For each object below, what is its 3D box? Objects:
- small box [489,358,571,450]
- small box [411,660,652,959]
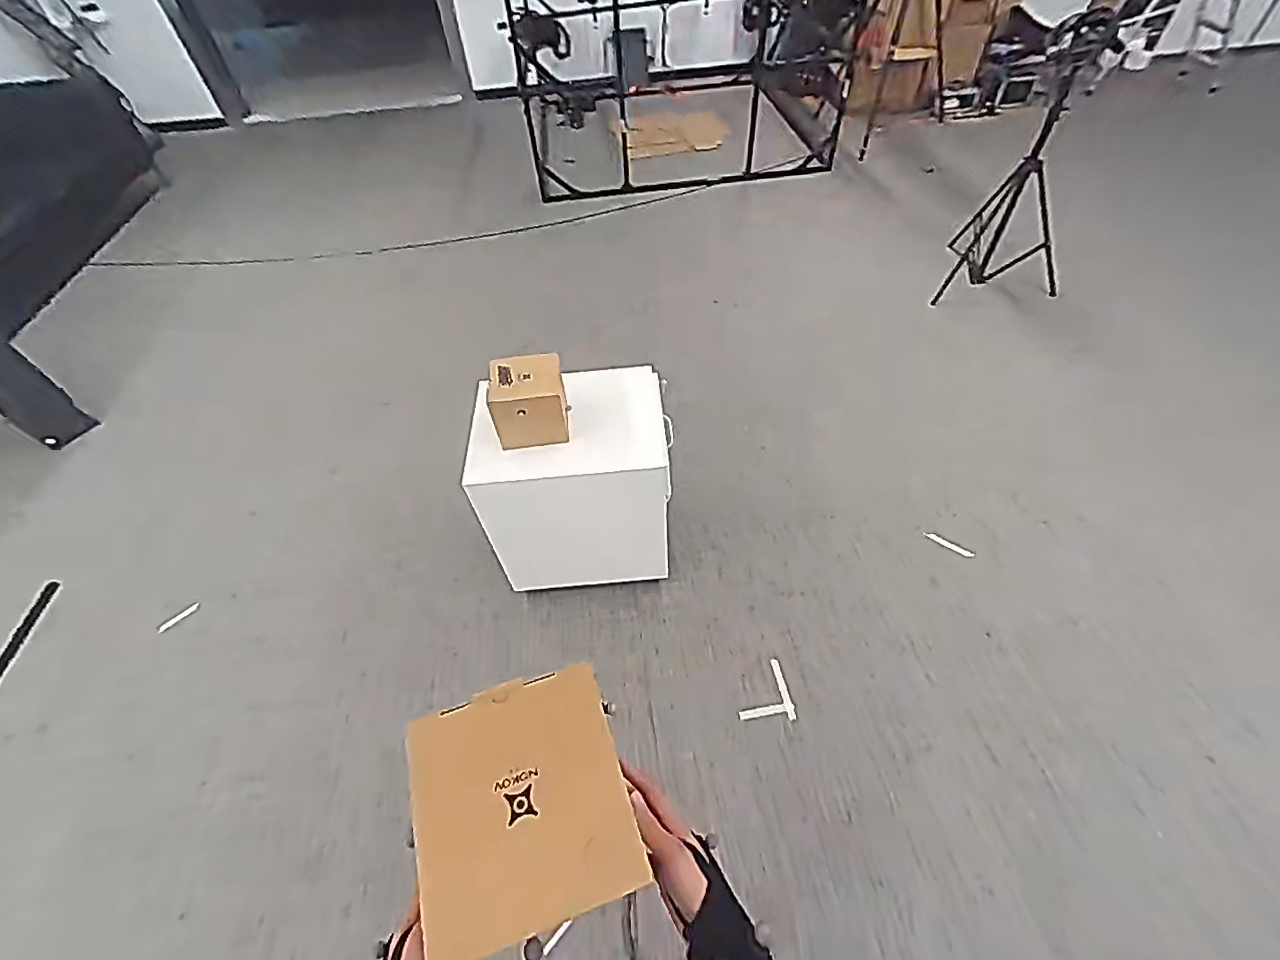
[{"bbox_3d":[-0.280,-0.192,1.402,0.179,0.176,0.168,-6,50,-3],"label":"small box"},{"bbox_3d":[-0.093,0.299,0.497,0.168,0.176,0.179,-16,53,-13],"label":"small box"}]
